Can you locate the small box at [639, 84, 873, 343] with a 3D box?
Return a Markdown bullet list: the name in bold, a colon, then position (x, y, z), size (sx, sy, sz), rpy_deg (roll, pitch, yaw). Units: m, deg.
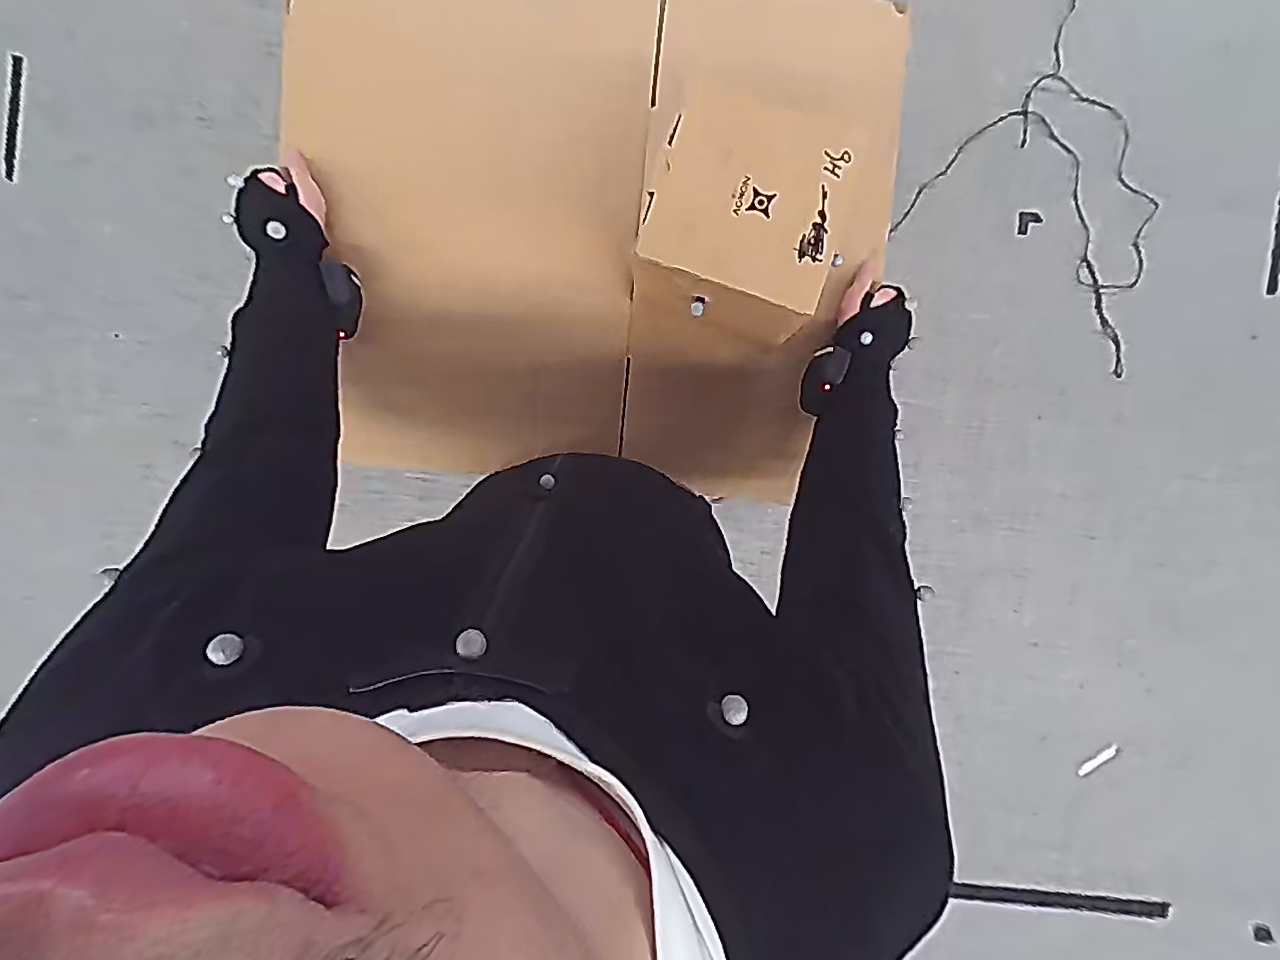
- **small box**: position (0.108, -0.261, 0.575), size (0.179, 0.176, 0.168), rpy_deg (19, 92, 1)
